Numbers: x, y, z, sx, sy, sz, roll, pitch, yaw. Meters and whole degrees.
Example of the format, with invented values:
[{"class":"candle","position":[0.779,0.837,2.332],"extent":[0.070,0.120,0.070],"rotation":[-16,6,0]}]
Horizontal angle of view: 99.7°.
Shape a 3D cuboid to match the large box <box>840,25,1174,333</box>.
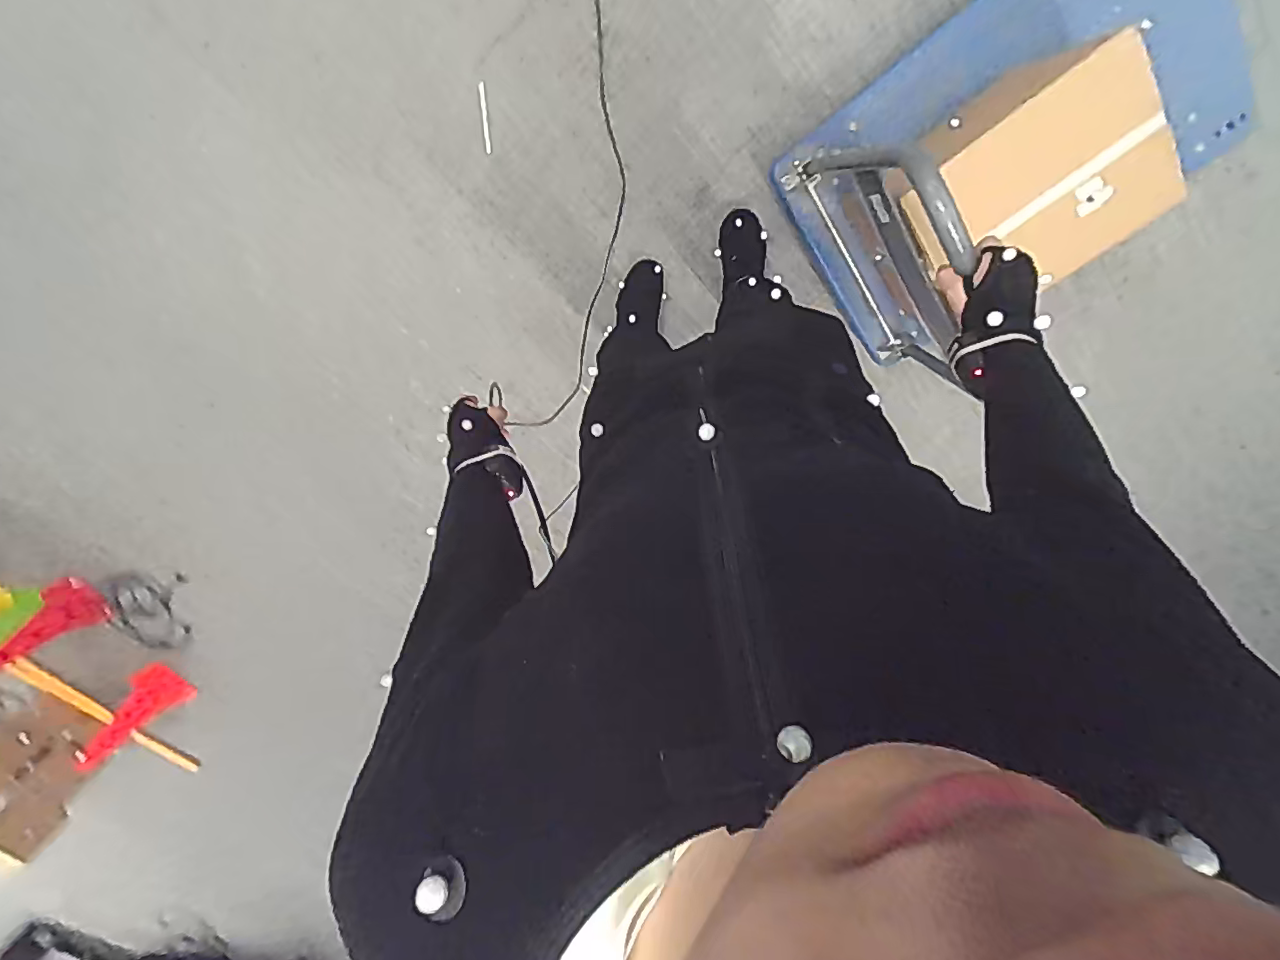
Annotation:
[{"class":"large box","position":[0.695,-0.566,1.089],"extent":[0.408,0.320,0.320],"rotation":[-35,112,16]}]
